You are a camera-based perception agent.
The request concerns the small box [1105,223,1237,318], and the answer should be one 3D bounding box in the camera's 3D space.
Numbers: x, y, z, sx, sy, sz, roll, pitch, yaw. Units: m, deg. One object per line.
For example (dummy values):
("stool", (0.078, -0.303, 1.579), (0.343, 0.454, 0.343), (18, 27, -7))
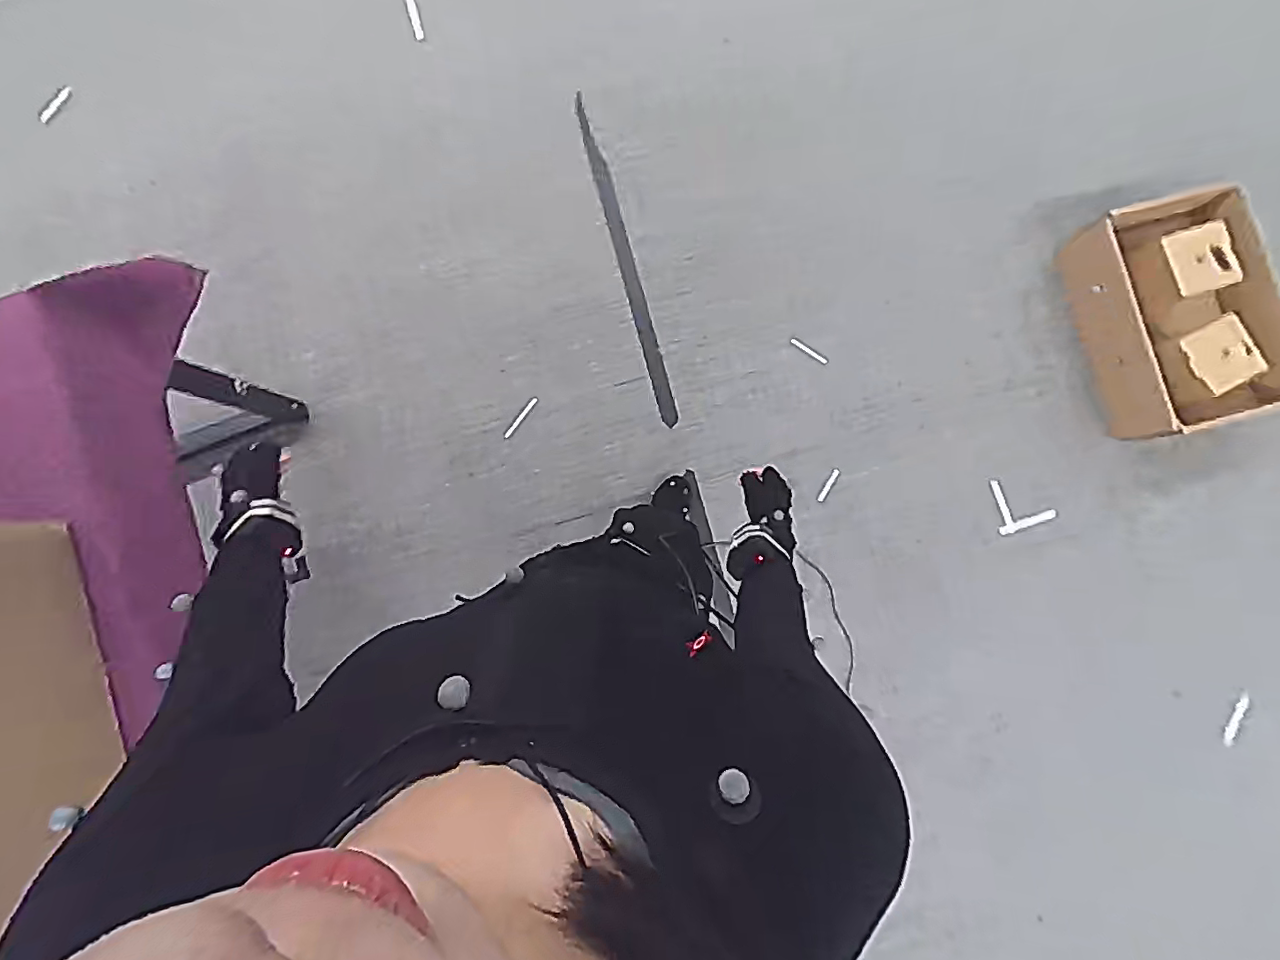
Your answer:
("small box", (1.447, -0.568, 1.484), (0.179, 0.176, 0.168), (-18, 87, -2))
